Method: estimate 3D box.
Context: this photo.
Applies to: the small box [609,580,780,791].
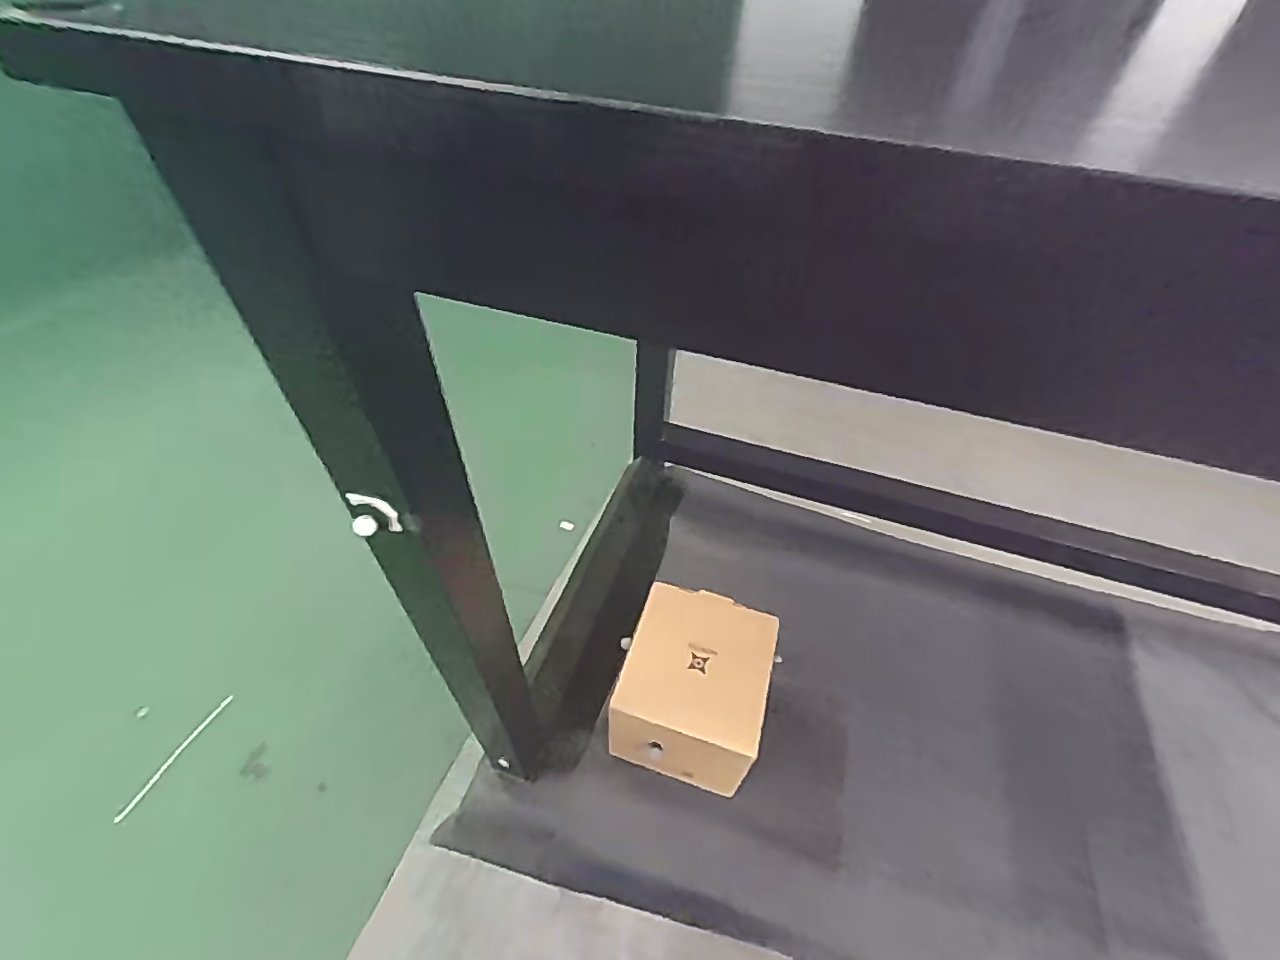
[{"bbox_3d":[0.068,0.263,0.687,0.168,0.176,0.179,15,47,11],"label":"small box"}]
